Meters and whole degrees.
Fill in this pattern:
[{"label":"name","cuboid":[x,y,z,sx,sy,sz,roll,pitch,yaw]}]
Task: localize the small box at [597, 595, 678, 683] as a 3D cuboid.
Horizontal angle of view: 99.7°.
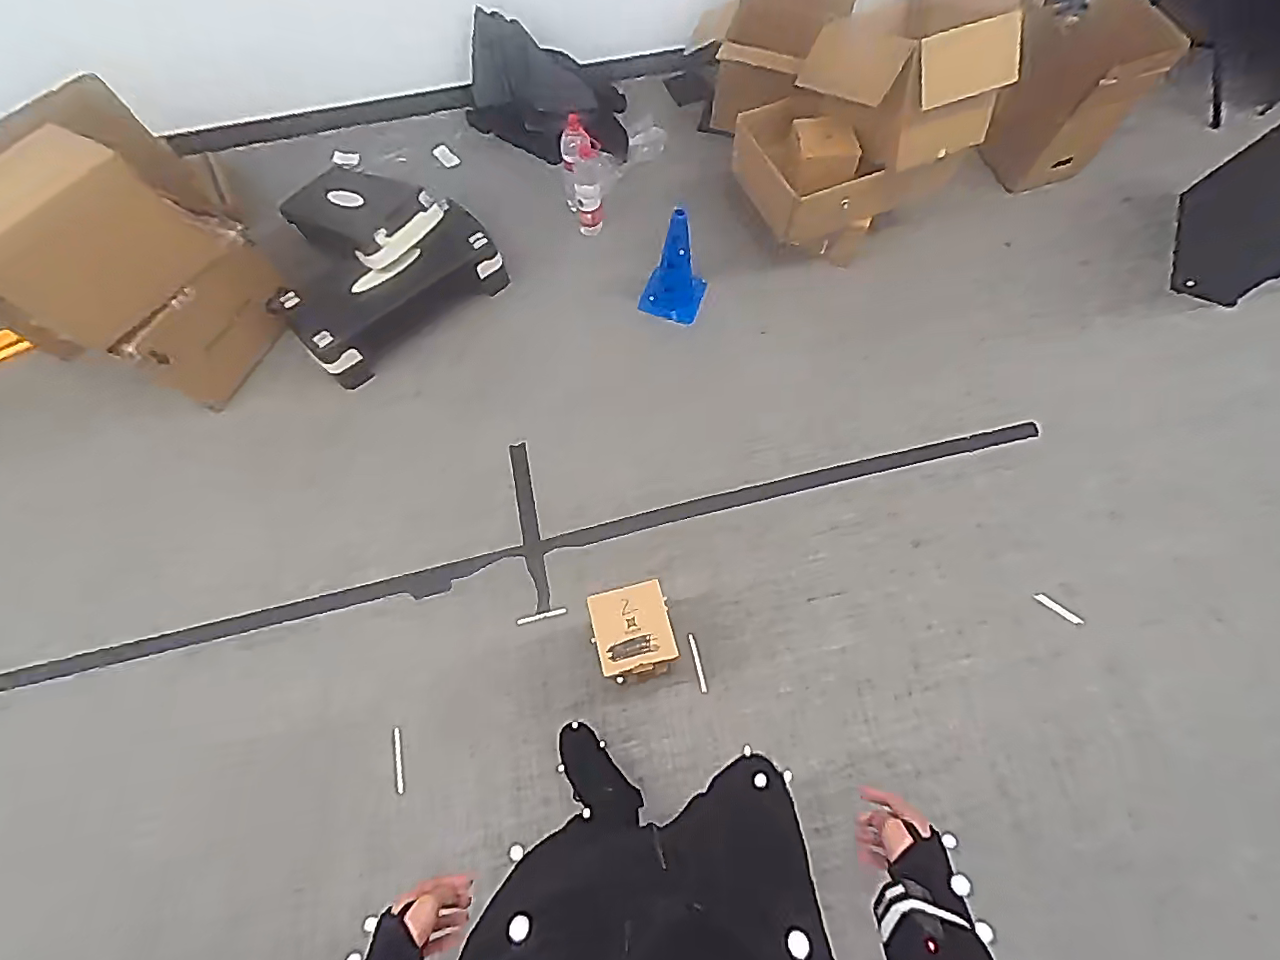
[{"label":"small box","cuboid":[-0.008,0.415,1.395,0.168,0.176,0.179,-15,70,-5]}]
